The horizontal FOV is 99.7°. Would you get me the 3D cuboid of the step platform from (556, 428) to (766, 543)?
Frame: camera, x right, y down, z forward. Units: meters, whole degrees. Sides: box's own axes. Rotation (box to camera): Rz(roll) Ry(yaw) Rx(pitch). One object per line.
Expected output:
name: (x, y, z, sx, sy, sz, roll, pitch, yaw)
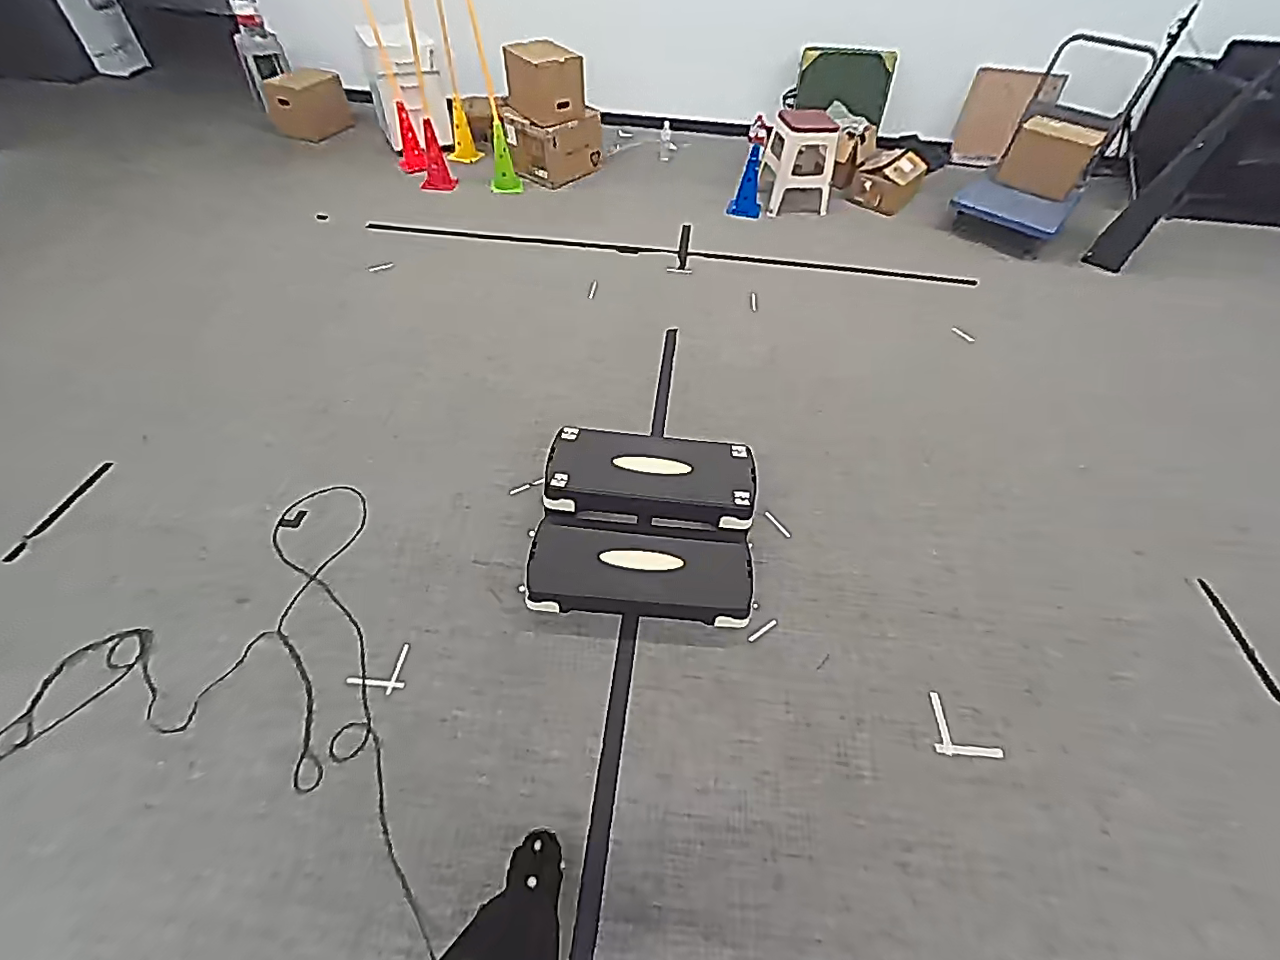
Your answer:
step platform: (0.068, 0.013, 1.793, 0.684, 0.204, 0.286, 6, 50, 0)
